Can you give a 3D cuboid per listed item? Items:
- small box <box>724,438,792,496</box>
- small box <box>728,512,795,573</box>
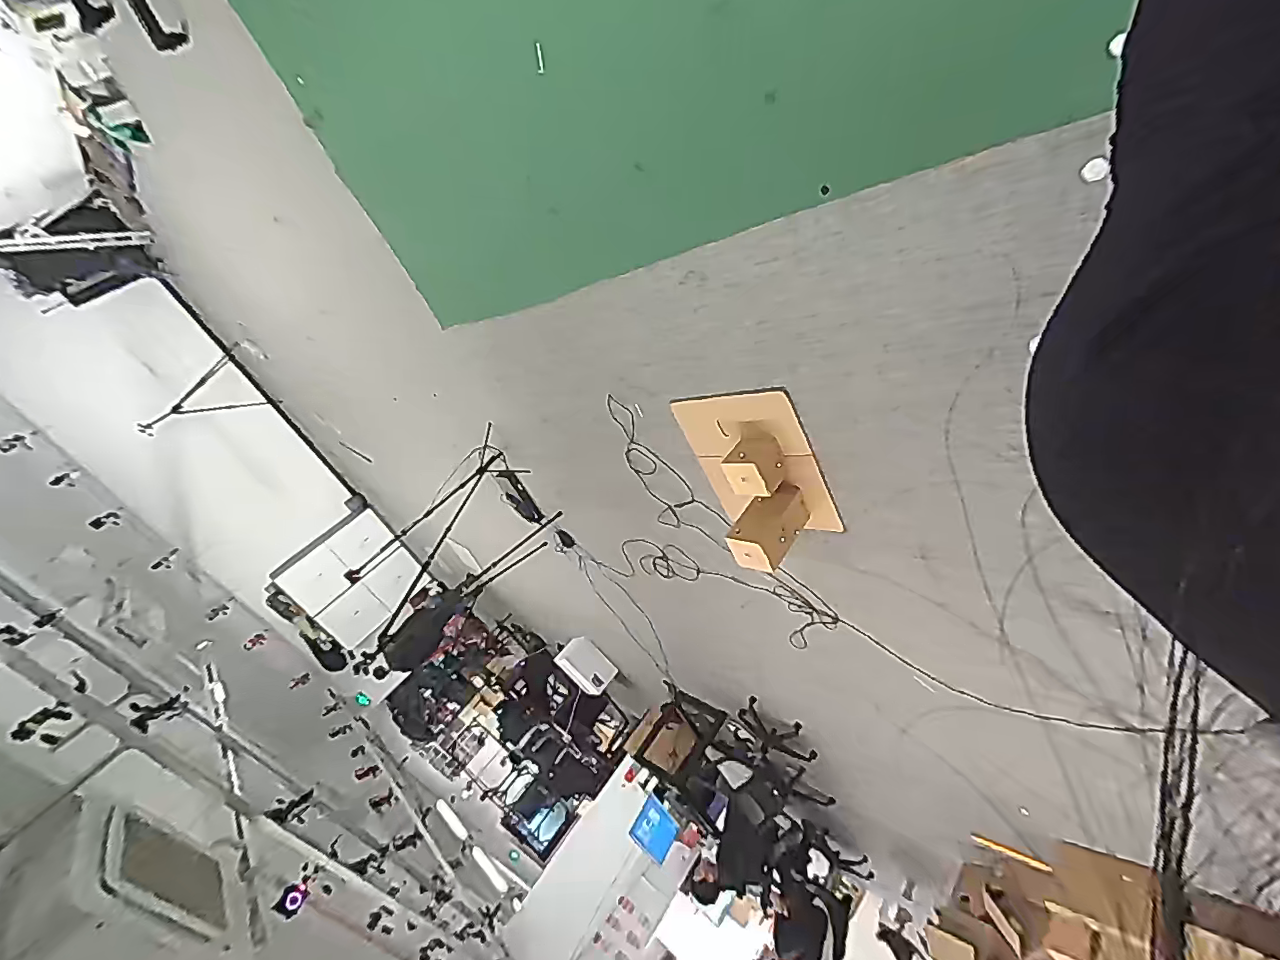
[{"bbox_3d":[0.472,-0.052,2.156,0.179,0.176,0.168,0,128,50],"label":"small box"},{"bbox_3d":[0.492,0.245,2.173,0.179,0.176,0.168,5,134,48],"label":"small box"}]
